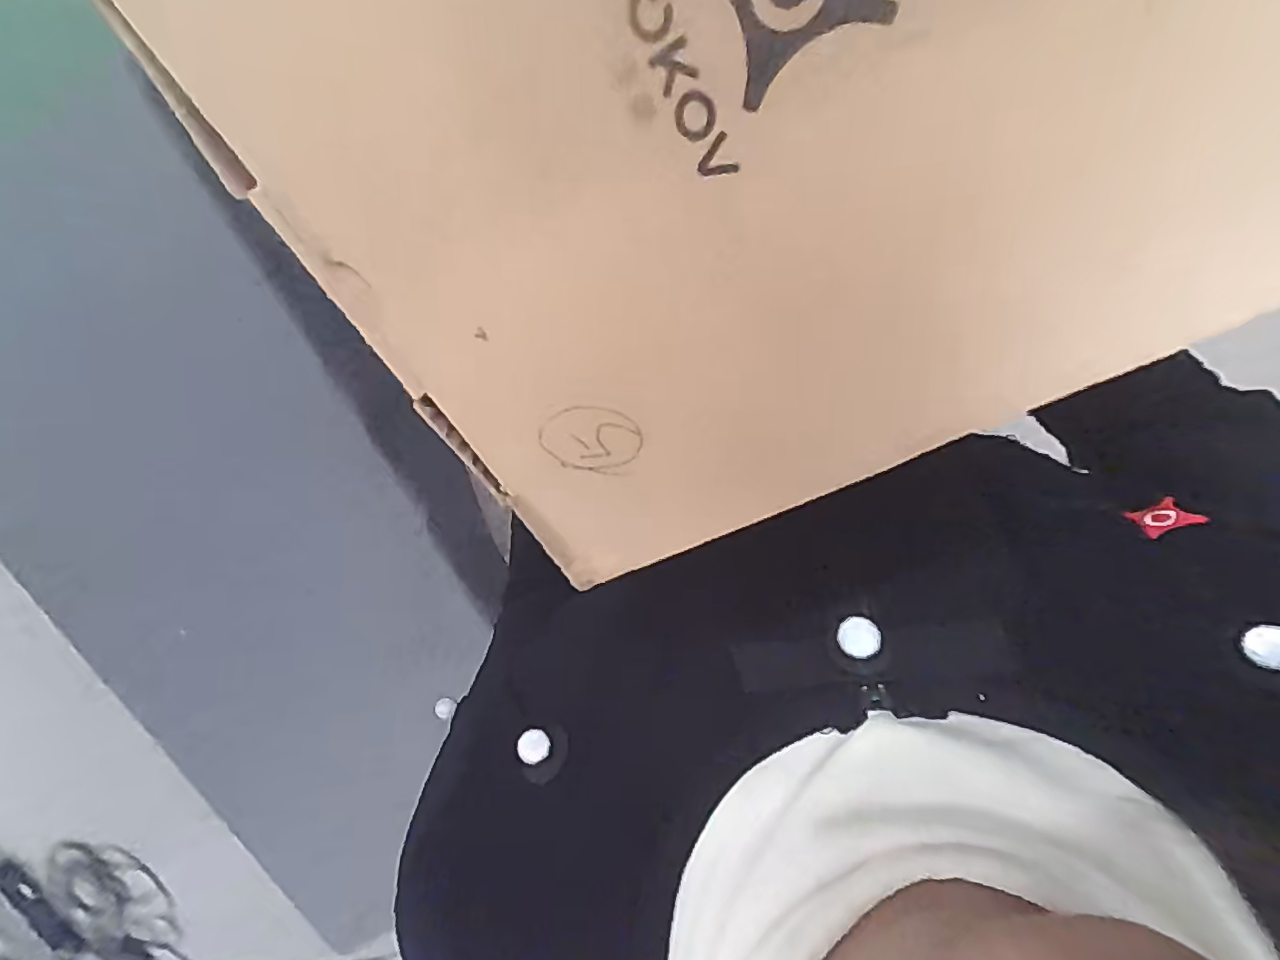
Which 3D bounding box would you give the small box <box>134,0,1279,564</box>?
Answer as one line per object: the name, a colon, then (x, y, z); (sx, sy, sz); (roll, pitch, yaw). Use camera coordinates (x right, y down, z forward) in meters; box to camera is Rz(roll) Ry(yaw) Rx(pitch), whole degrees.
small box: (0.024, -0.113, 0.148); (0.179, 0.176, 0.168); (-24, 117, 17)
